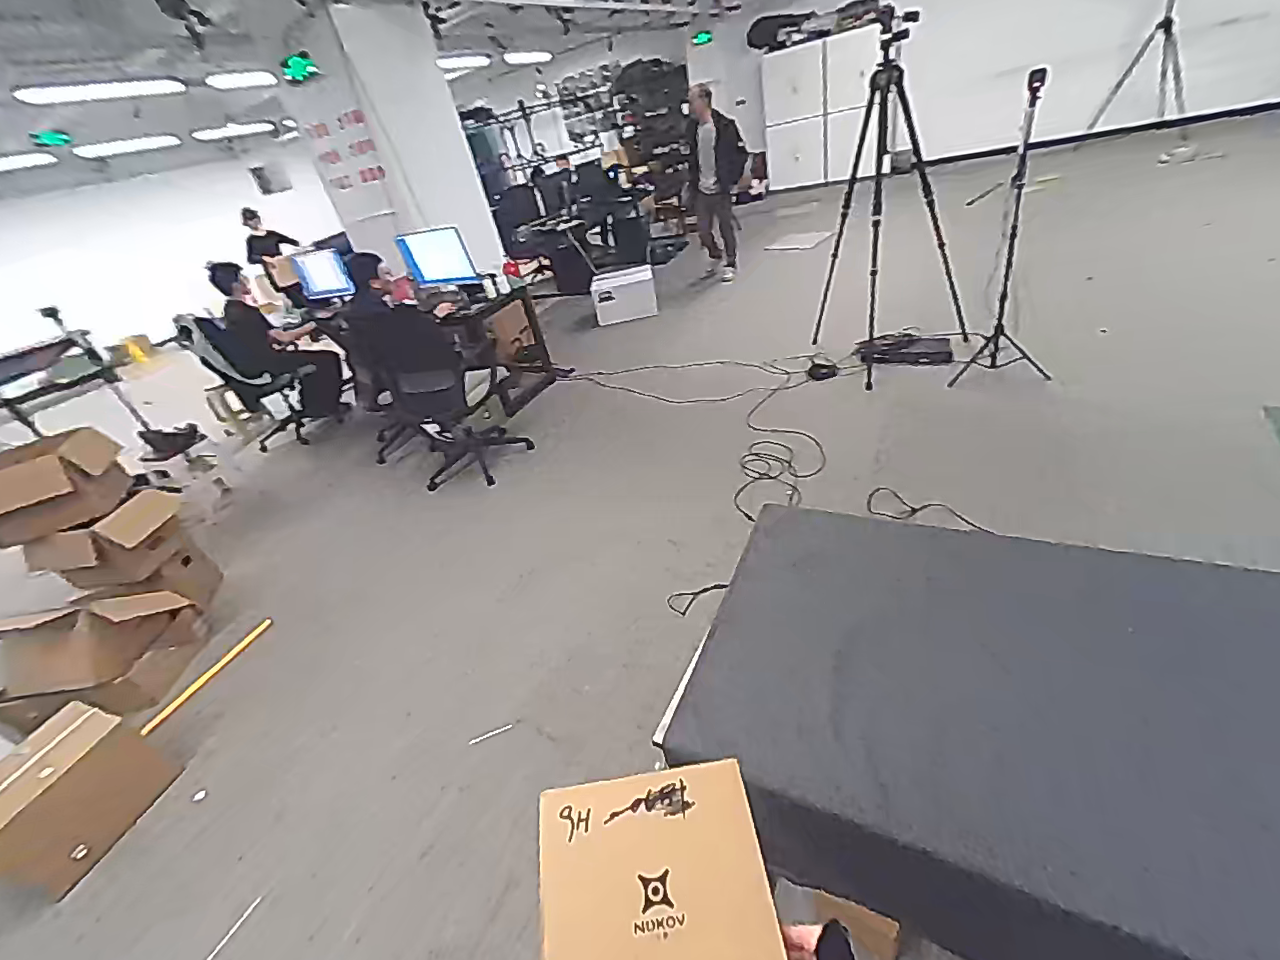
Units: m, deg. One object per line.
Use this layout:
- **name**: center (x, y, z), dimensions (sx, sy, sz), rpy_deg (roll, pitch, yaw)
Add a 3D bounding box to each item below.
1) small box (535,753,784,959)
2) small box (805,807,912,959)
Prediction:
- **small box**: center (0.013, 0.346, 0.434), dimensions (0.168, 0.176, 0.179), rpy_deg (-6, 47, -3)
- **small box**: center (0.464, 0.856, 1.150), dimensions (0.168, 0.176, 0.179), rpy_deg (13, 41, 36)
